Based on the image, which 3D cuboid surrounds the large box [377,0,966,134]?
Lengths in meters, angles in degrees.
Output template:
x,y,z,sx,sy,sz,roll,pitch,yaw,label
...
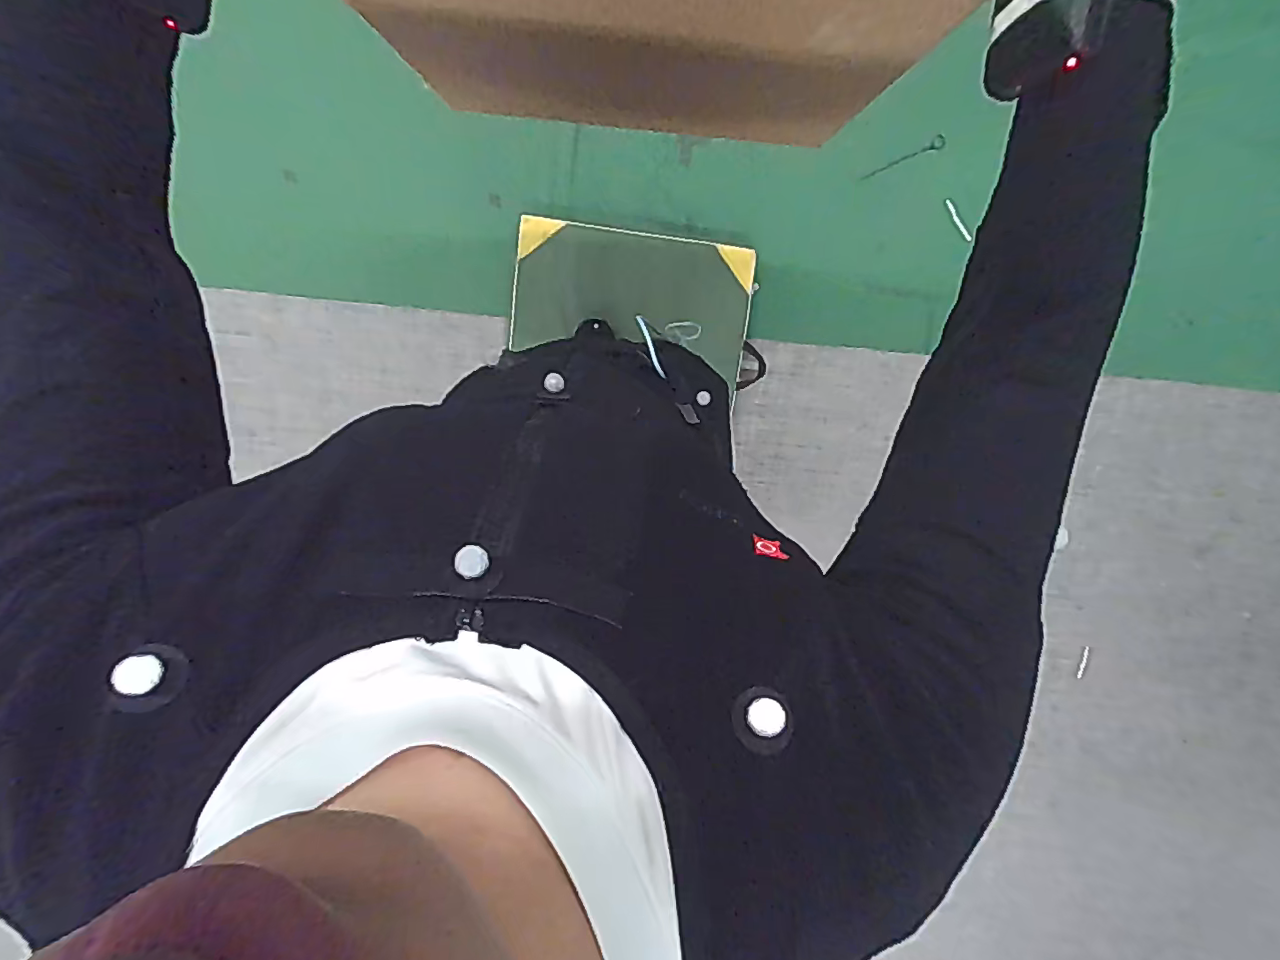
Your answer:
x,y,z,sx,sy,sz,roll,pitch,yaw,label
0.016,-0.486,0.397,0.408,0.320,0.320,4,109,-2,large box
